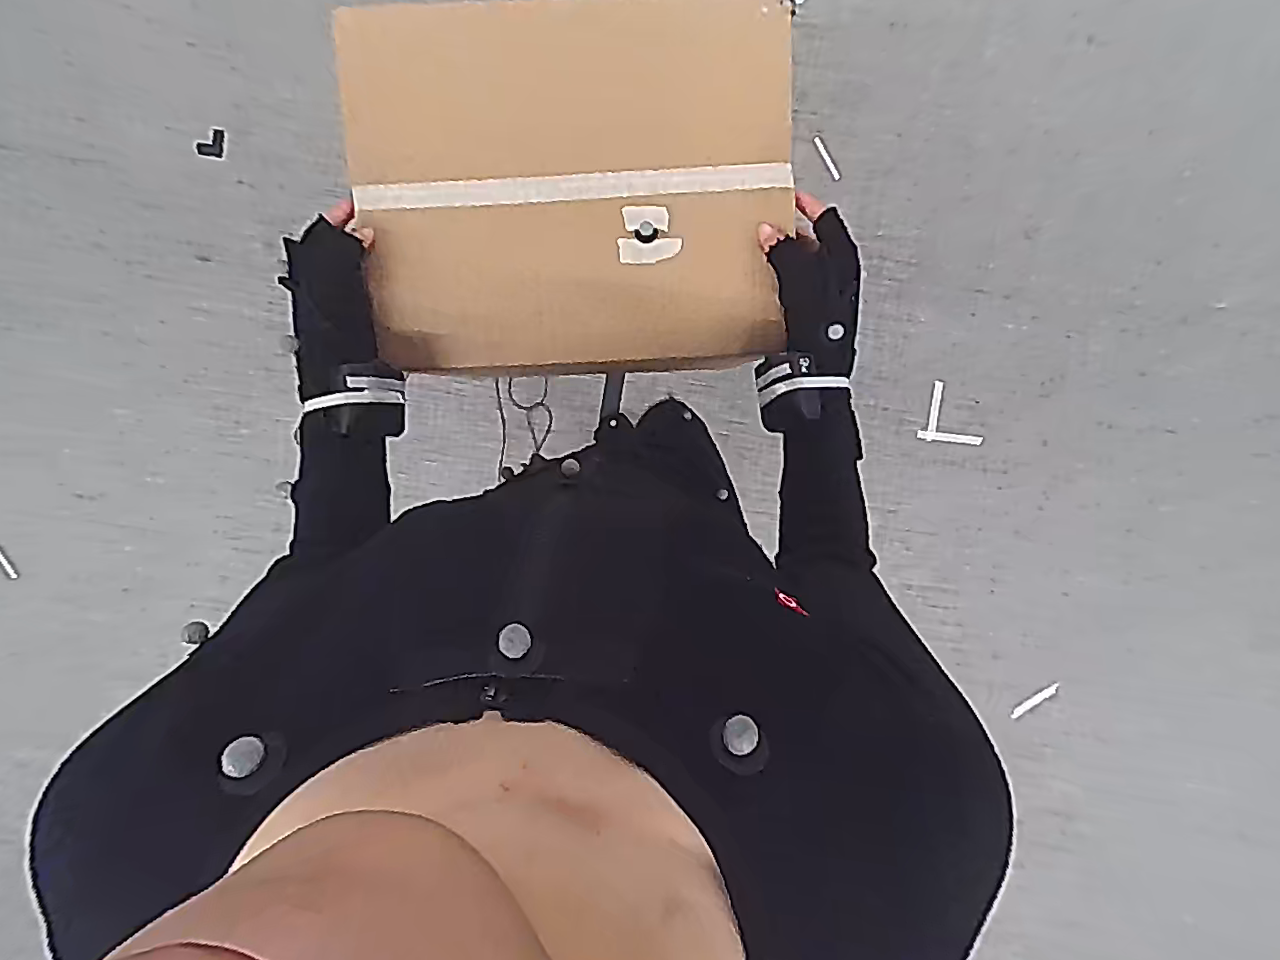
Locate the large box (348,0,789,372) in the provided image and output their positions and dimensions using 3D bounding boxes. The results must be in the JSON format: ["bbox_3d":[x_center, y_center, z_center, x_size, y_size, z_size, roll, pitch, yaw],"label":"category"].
[{"bbox_3d":[-0.062,-0.306,0.656,0.408,0.320,0.320,-3,99,0],"label":"large box"}]
